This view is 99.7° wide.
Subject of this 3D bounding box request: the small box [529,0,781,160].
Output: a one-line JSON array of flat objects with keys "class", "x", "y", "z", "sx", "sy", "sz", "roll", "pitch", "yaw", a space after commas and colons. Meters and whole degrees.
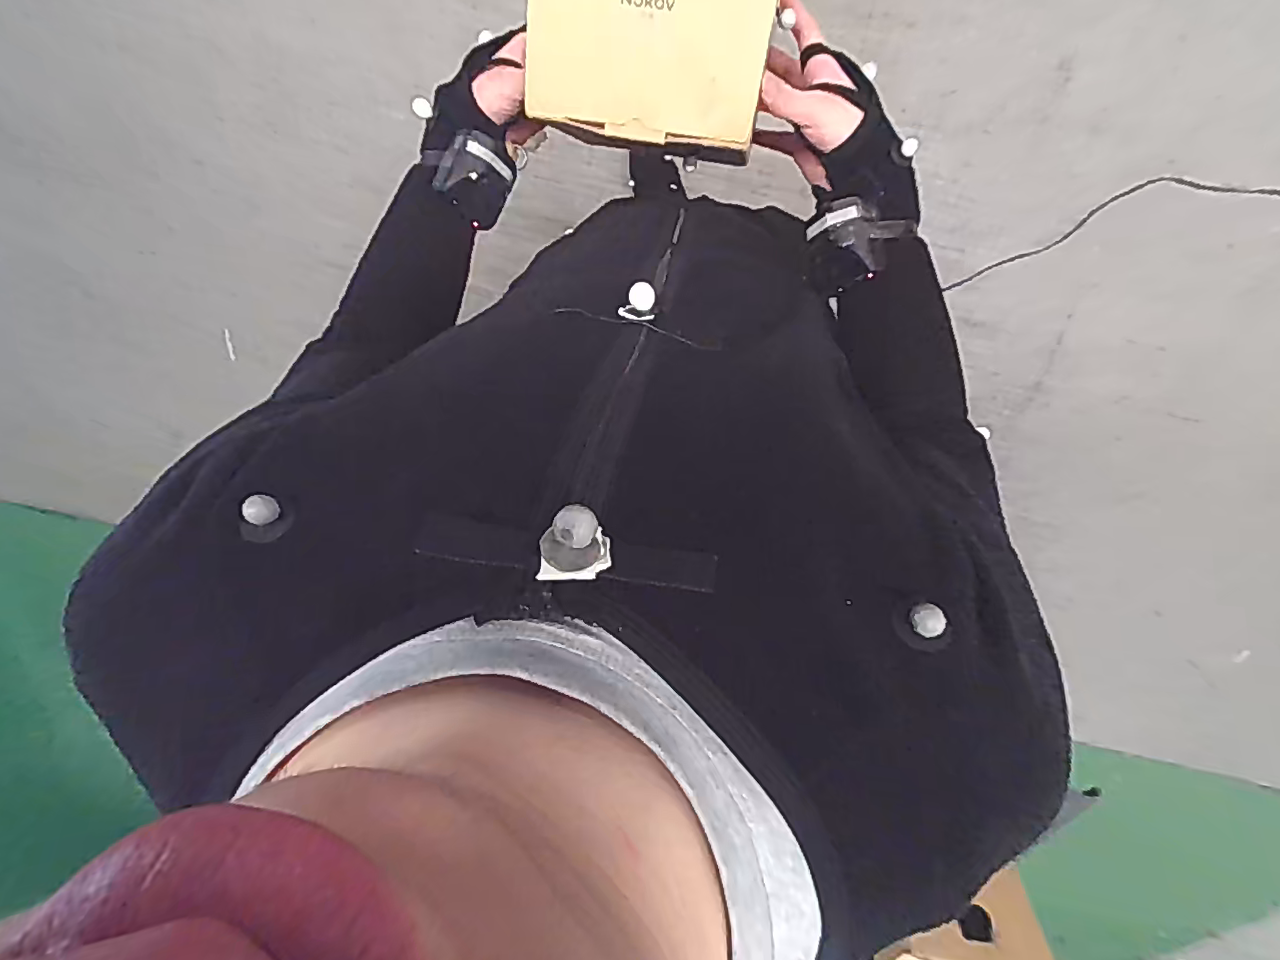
[{"class": "small box", "x": 0.022, "y": -0.363, "z": 0.421, "sx": 0.168, "sy": 0.176, "sz": 0.179, "roll": 11, "pitch": 117, "yaw": 4}]
